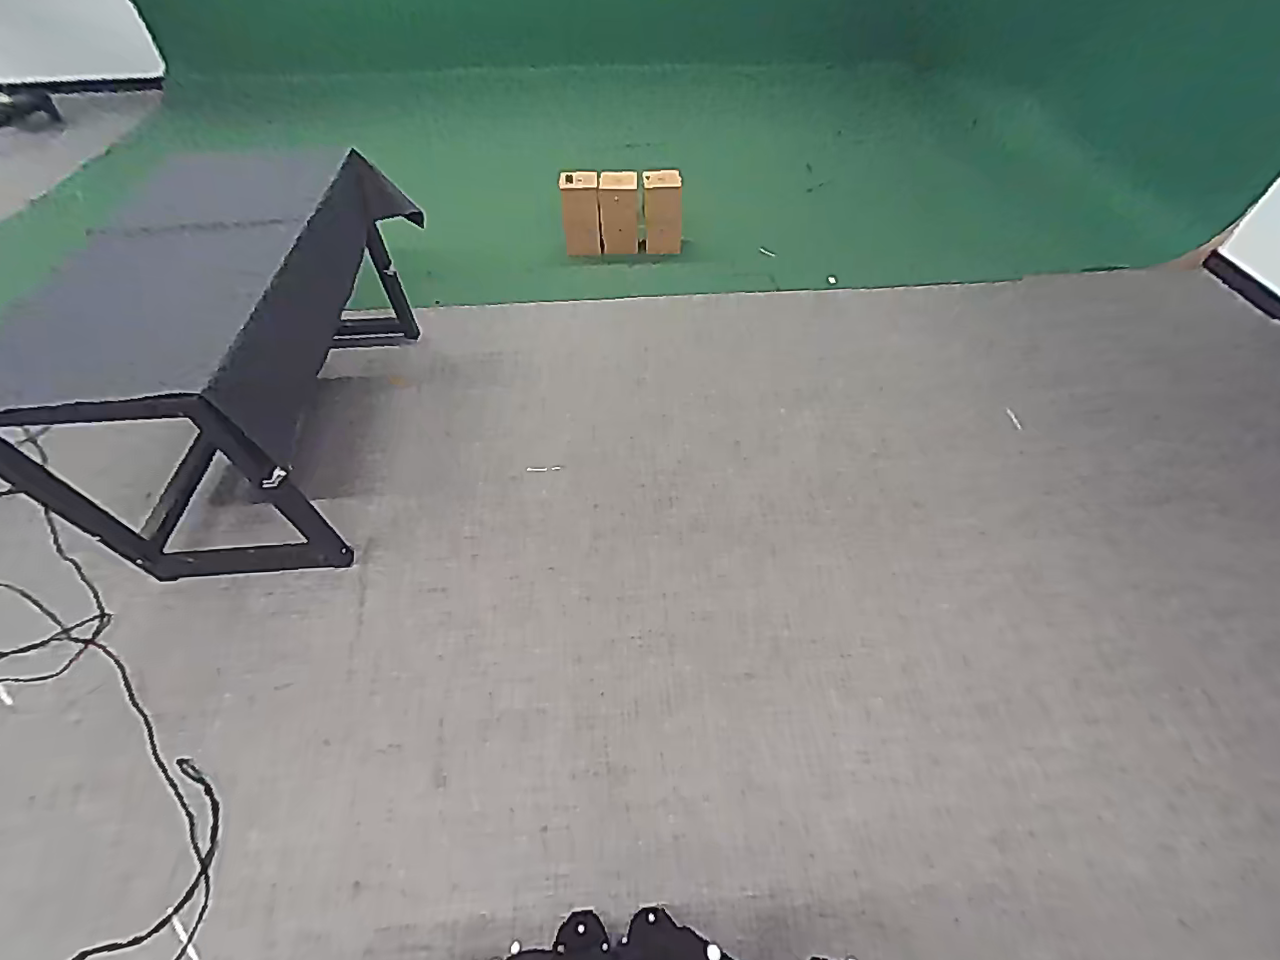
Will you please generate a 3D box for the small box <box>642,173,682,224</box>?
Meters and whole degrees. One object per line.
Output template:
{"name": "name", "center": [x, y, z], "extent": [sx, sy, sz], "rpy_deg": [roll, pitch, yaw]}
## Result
{"name": "small box", "center": [0.102, -1.352, 2.598], "extent": [0.179, 0.176, 0.168], "rpy_deg": [-2, 52, -3]}
